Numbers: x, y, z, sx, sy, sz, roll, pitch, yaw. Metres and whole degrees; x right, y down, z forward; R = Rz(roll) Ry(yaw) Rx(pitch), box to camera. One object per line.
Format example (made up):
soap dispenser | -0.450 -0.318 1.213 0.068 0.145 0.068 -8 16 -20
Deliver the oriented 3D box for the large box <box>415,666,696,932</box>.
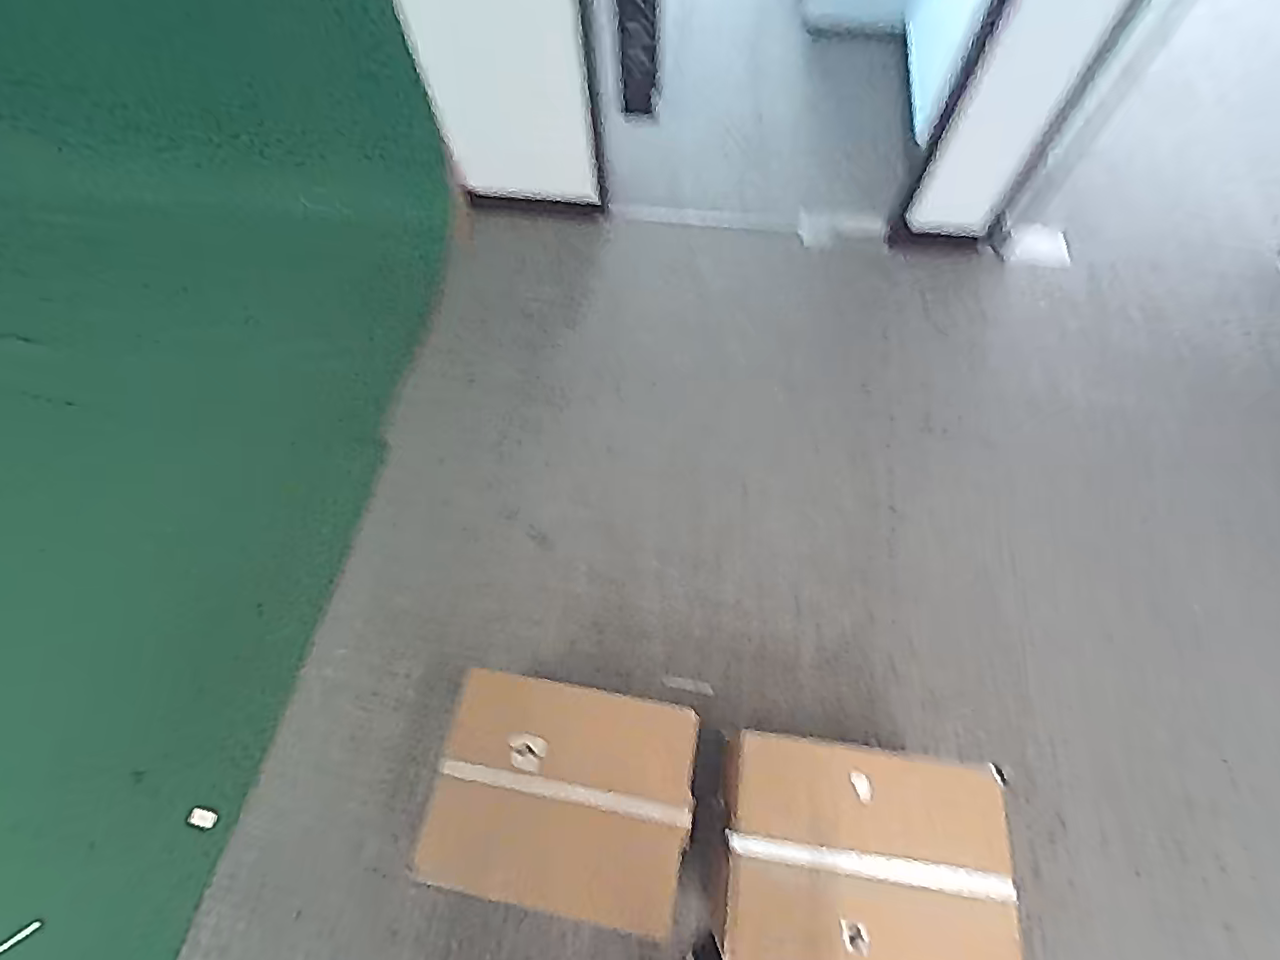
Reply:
large box | -0.116 0.554 1.000 0.408 0.320 0.320 9 65 8
